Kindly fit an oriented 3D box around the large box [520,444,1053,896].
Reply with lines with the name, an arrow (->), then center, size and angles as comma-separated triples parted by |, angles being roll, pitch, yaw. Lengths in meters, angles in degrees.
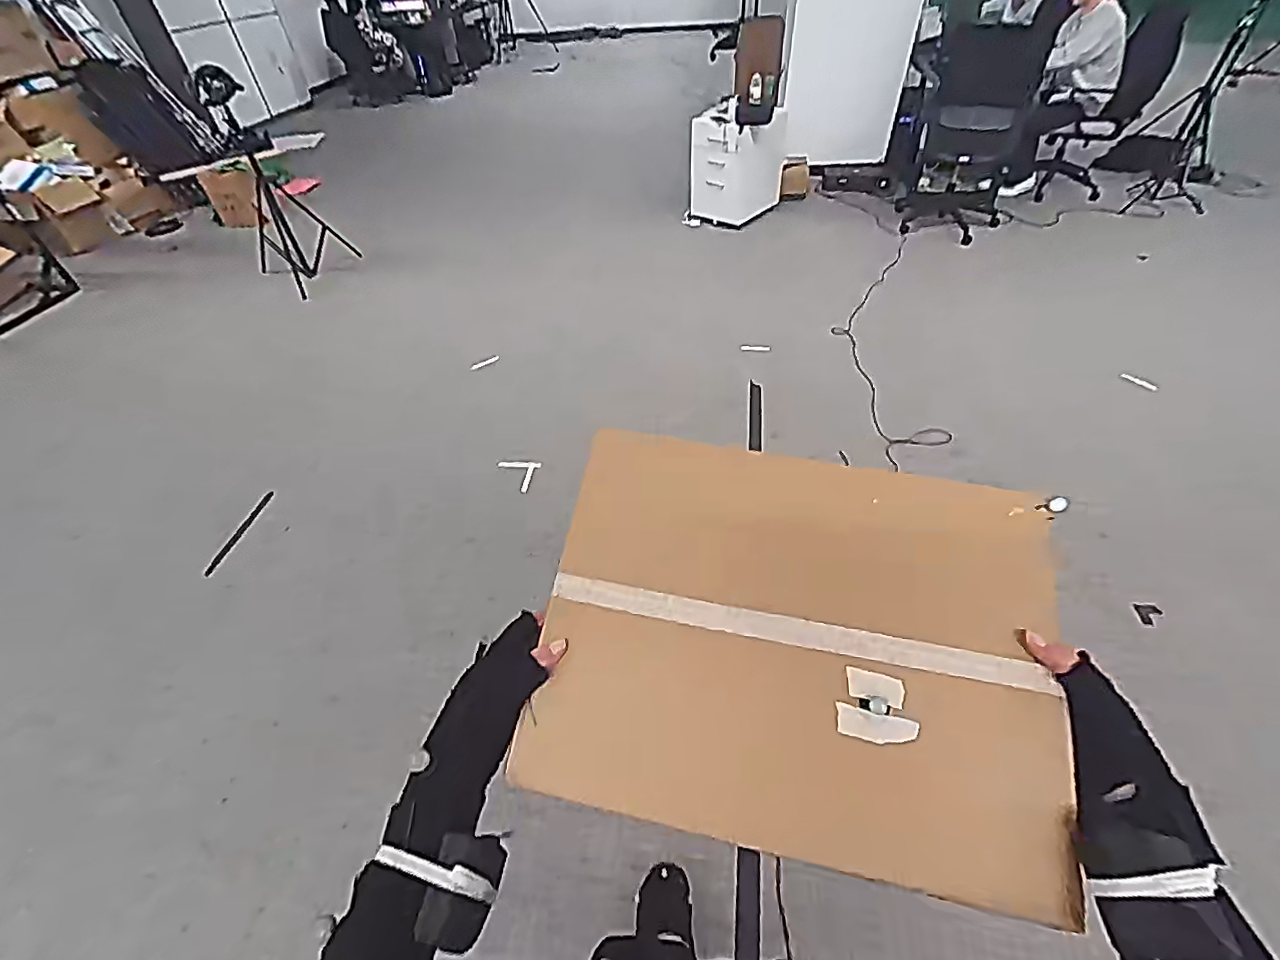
large box -> 0.132, 0.188, 0.597 | 0.408, 0.320, 0.320 | 9, 68, 8
